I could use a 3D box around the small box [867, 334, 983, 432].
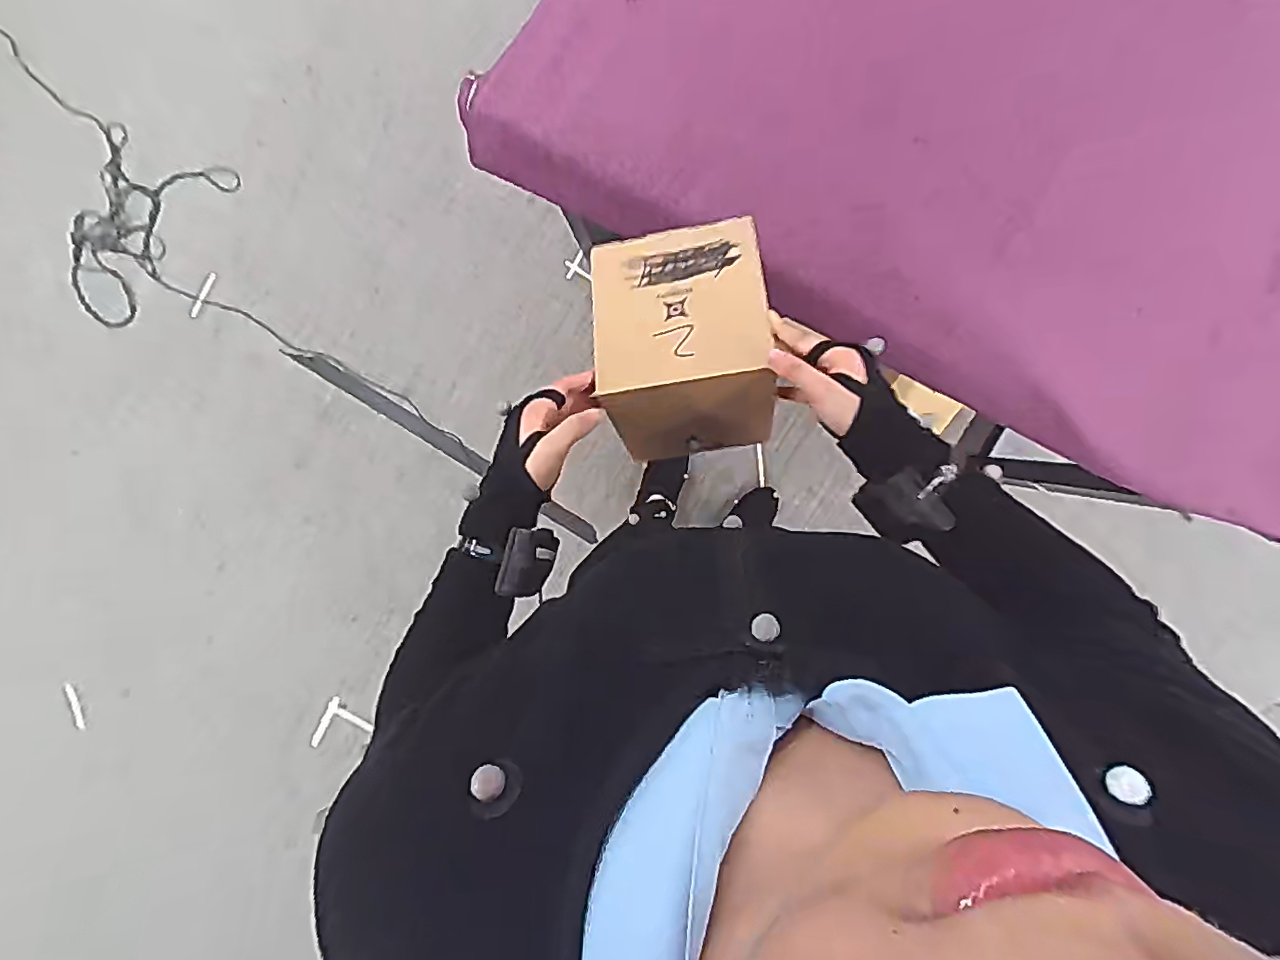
[{"bbox_3d":[0.704,-0.236,1.365,0.168,0.176,0.179,38,95,0],"label":"small box"}]

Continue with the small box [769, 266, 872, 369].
[{"bbox_3d":[0.442,-0.399,1.362,0.168,0.176,0.179,31,95,-1],"label":"small box"}]
